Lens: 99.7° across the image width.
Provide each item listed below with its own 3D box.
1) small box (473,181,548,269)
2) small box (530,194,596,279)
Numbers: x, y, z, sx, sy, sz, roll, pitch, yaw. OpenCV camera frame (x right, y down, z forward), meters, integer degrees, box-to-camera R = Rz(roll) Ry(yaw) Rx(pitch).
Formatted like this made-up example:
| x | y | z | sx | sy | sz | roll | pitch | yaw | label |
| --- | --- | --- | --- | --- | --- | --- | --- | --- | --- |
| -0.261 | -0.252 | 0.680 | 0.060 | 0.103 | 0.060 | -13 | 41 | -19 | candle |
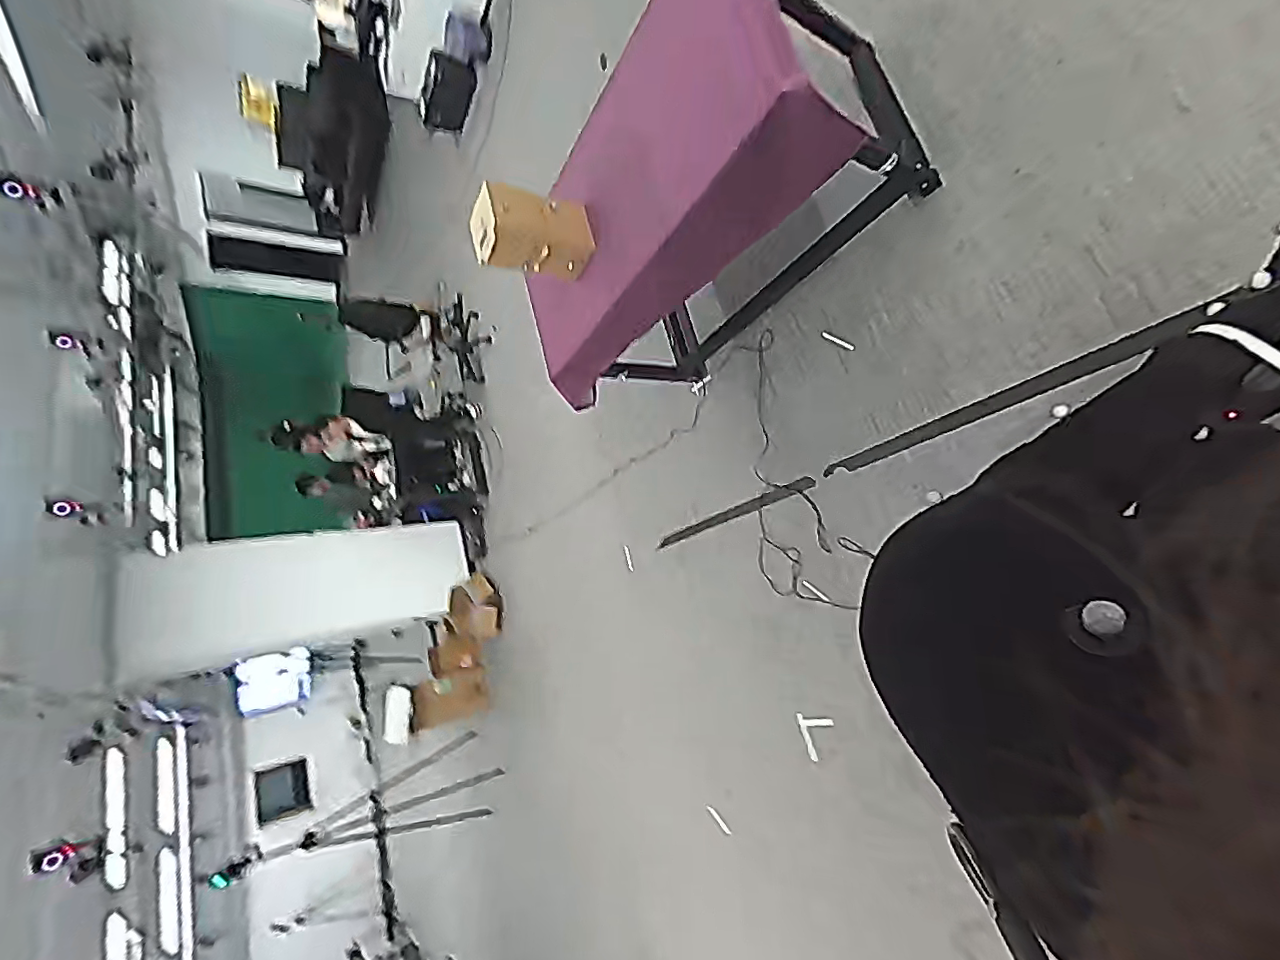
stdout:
| x | y | z | sx | sy | sz | roll | pitch | yaw | label |
| --- | --- | --- | --- | --- | --- | --- | --- | --- | --- |
| -0.398 | -0.775 | 1.665 | 0.168 | 0.176 | 0.179 | -39 | 61 | 48 | small box |
| -0.264 | -0.784 | 1.759 | 0.168 | 0.176 | 0.179 | -34 | 66 | 51 | small box |
